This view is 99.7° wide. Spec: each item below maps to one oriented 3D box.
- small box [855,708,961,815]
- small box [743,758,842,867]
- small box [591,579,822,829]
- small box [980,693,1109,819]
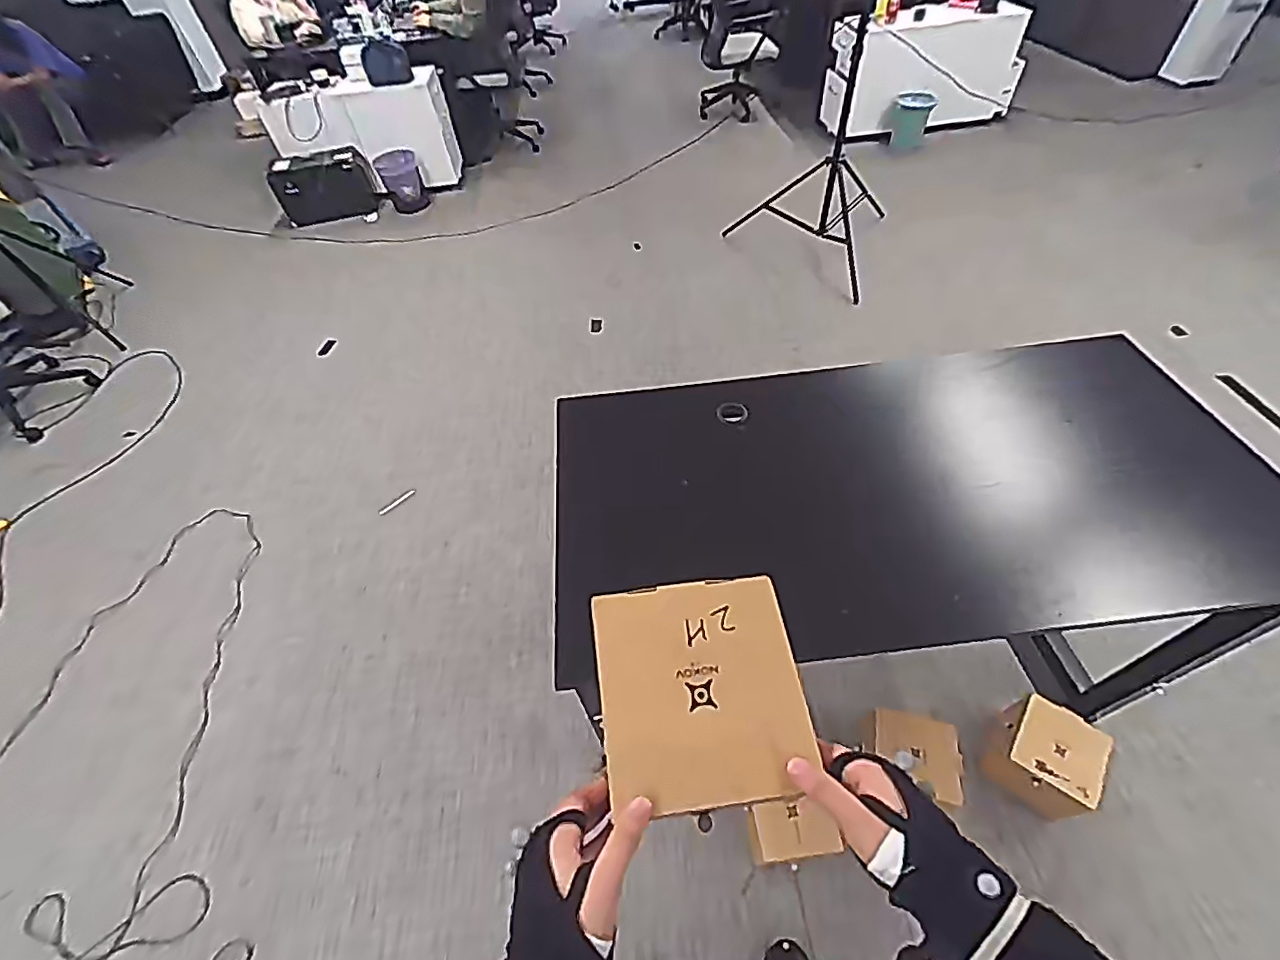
[{"bbox_3d":[0.607,0.650,1.241,0.179,0.176,0.168,9,51,13],"label":"small box"},{"bbox_3d":[0.321,0.736,1.195,0.168,0.176,0.179,-8,52,-1],"label":"small box"},{"bbox_3d":[0.047,0.215,0.512,0.168,0.176,0.179,-6,57,-5],"label":"small box"},{"bbox_3d":[0.909,0.628,1.227,0.168,0.176,0.179,29,59,26],"label":"small box"}]
